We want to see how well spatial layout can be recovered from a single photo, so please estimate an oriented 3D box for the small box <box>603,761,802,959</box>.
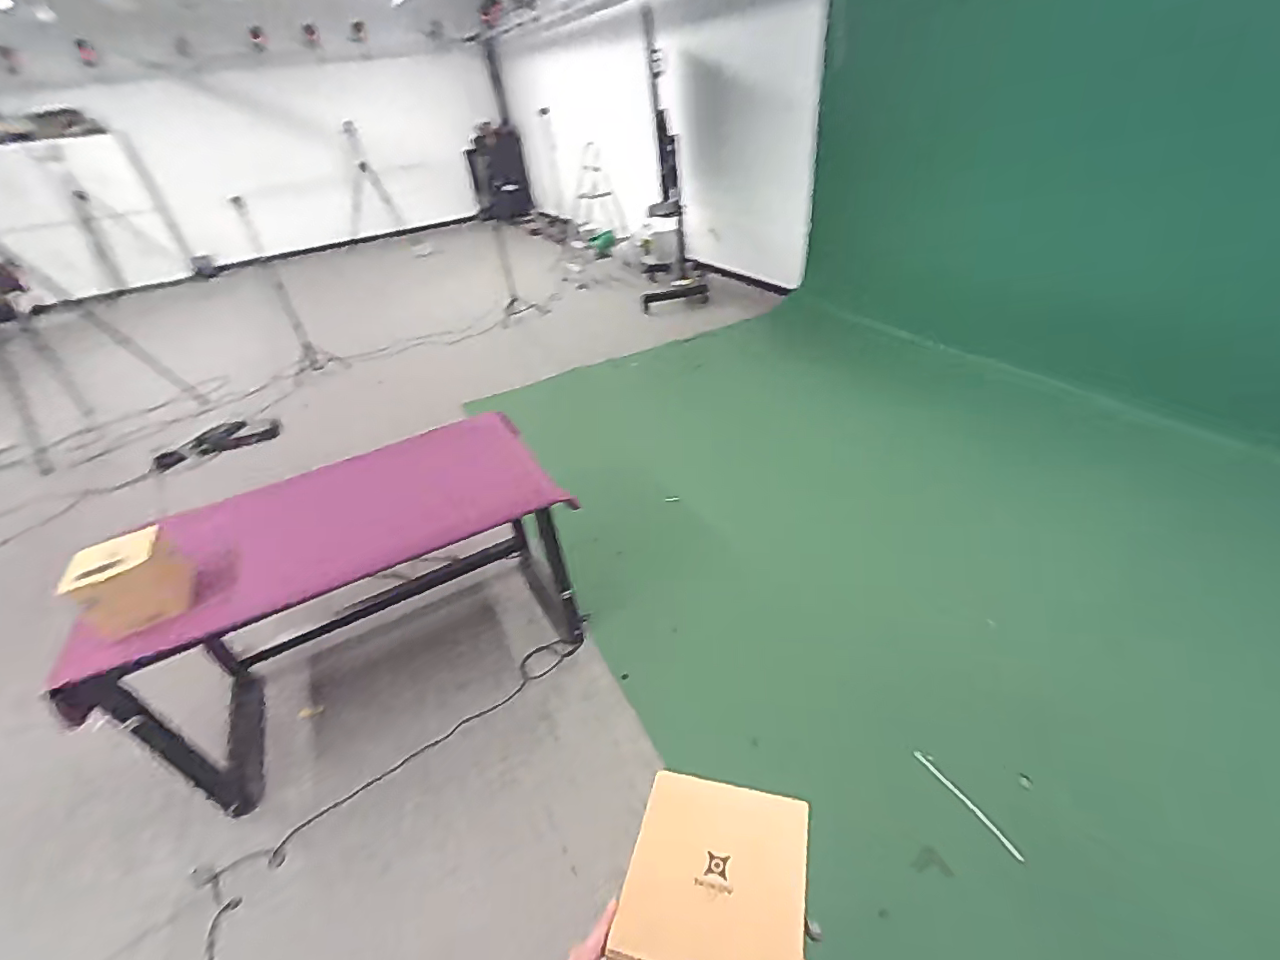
[{"bbox_3d":[0.074,0.435,0.558,0.168,0.176,0.179,3,31,17],"label":"small box"}]
